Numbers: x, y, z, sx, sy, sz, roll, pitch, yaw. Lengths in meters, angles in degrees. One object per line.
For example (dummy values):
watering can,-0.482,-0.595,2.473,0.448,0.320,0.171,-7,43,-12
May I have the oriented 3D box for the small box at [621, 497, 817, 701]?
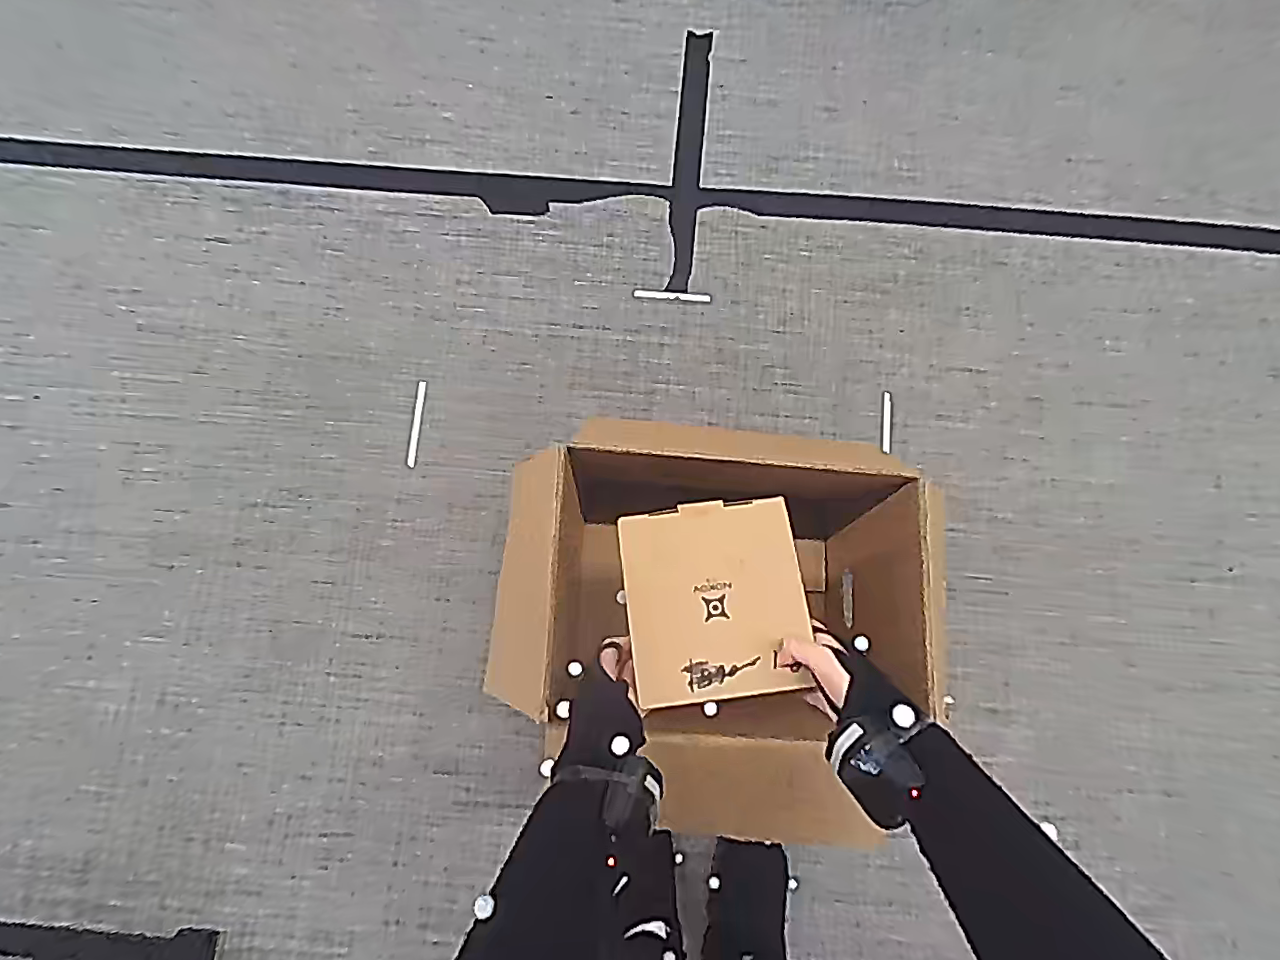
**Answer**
small box,0.071,0.131,0.582,0.168,0.176,0.179,-7,73,0
